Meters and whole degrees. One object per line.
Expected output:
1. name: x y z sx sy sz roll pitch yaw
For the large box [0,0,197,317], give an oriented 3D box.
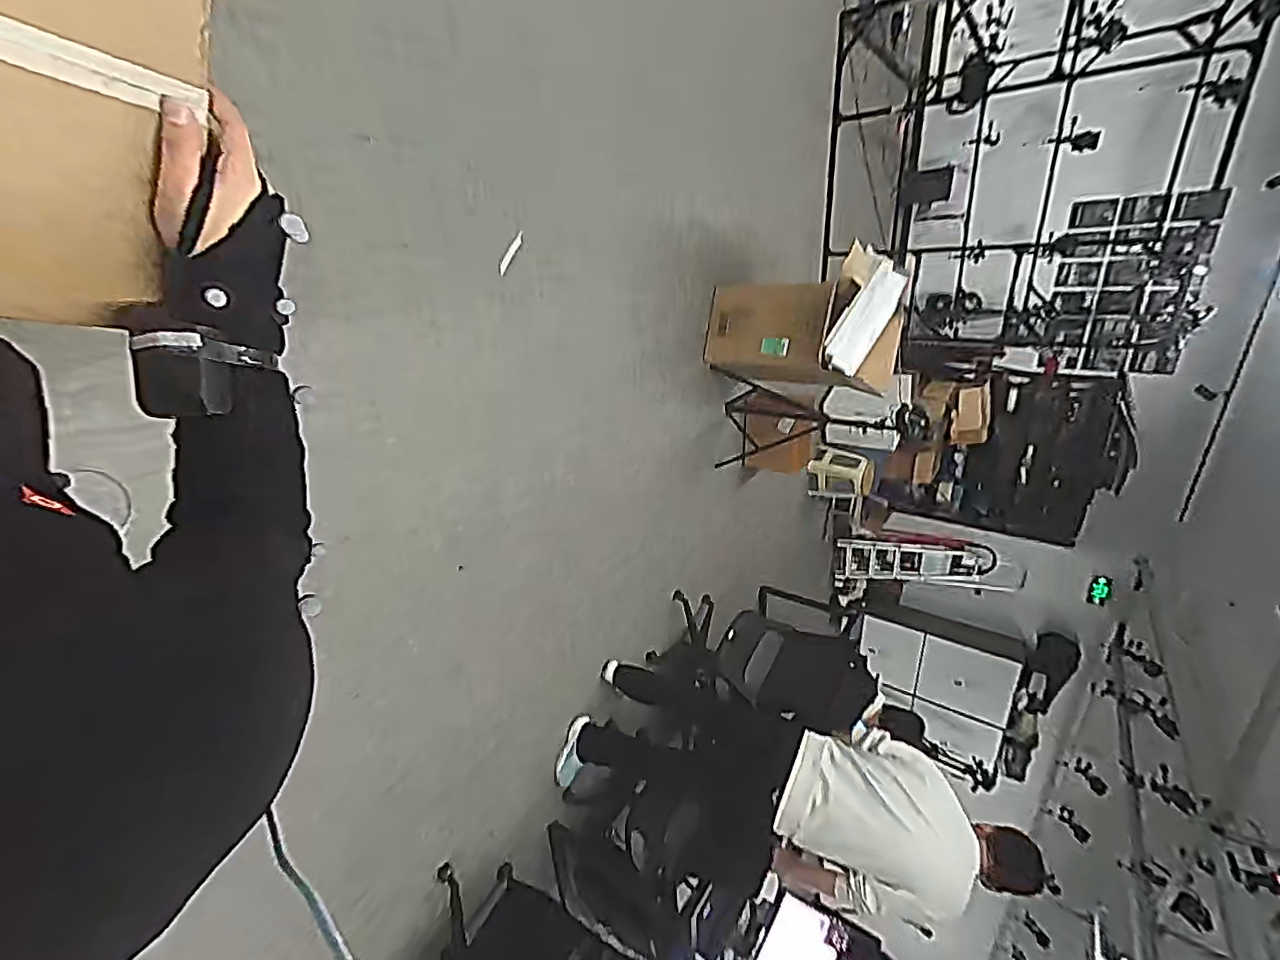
1. large box: -0.526 -0.308 0.282 0.408 0.320 0.320 -10 131 -51
